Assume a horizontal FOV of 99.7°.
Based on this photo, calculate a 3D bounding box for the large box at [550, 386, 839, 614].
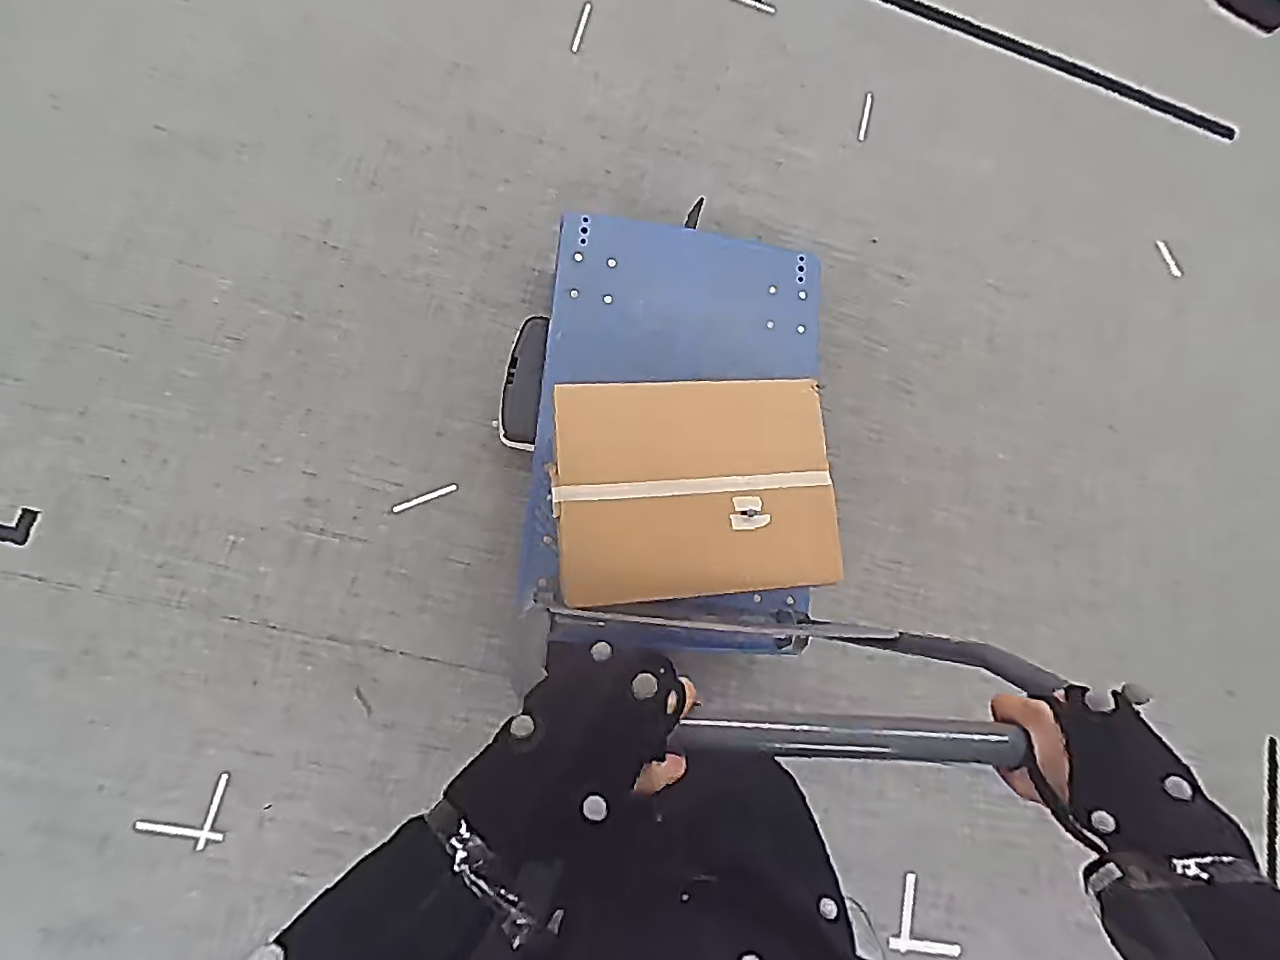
[{"bbox_3d":[0.059,0.042,0.926,0.408,0.320,0.320,-3,82,-11],"label":"large box"}]
